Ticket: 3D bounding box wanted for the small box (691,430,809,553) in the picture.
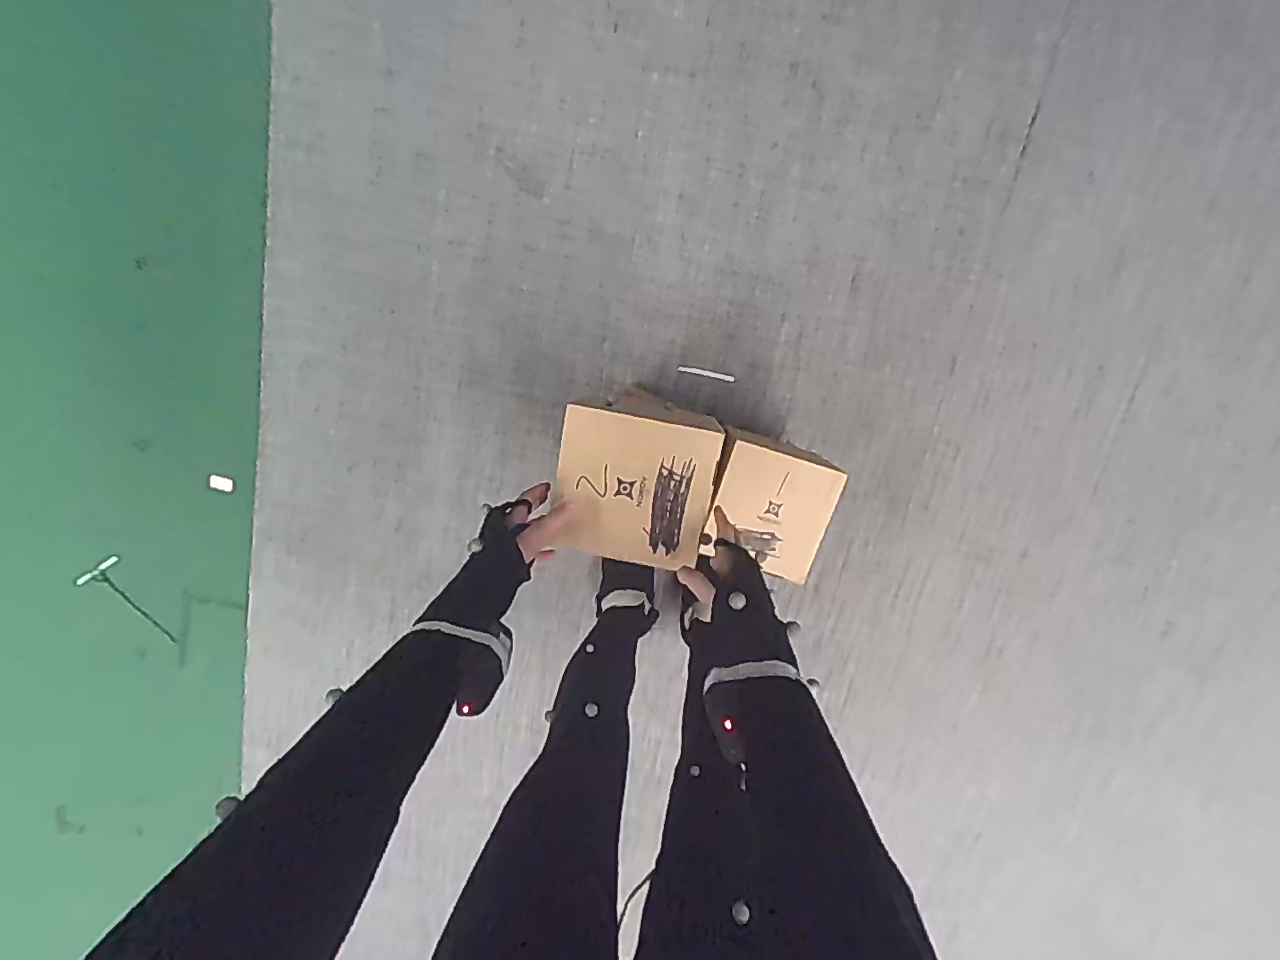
[{"bbox_3d":[0.192,0.012,1.004,0.168,0.176,0.179,12,103,0],"label":"small box"}]
